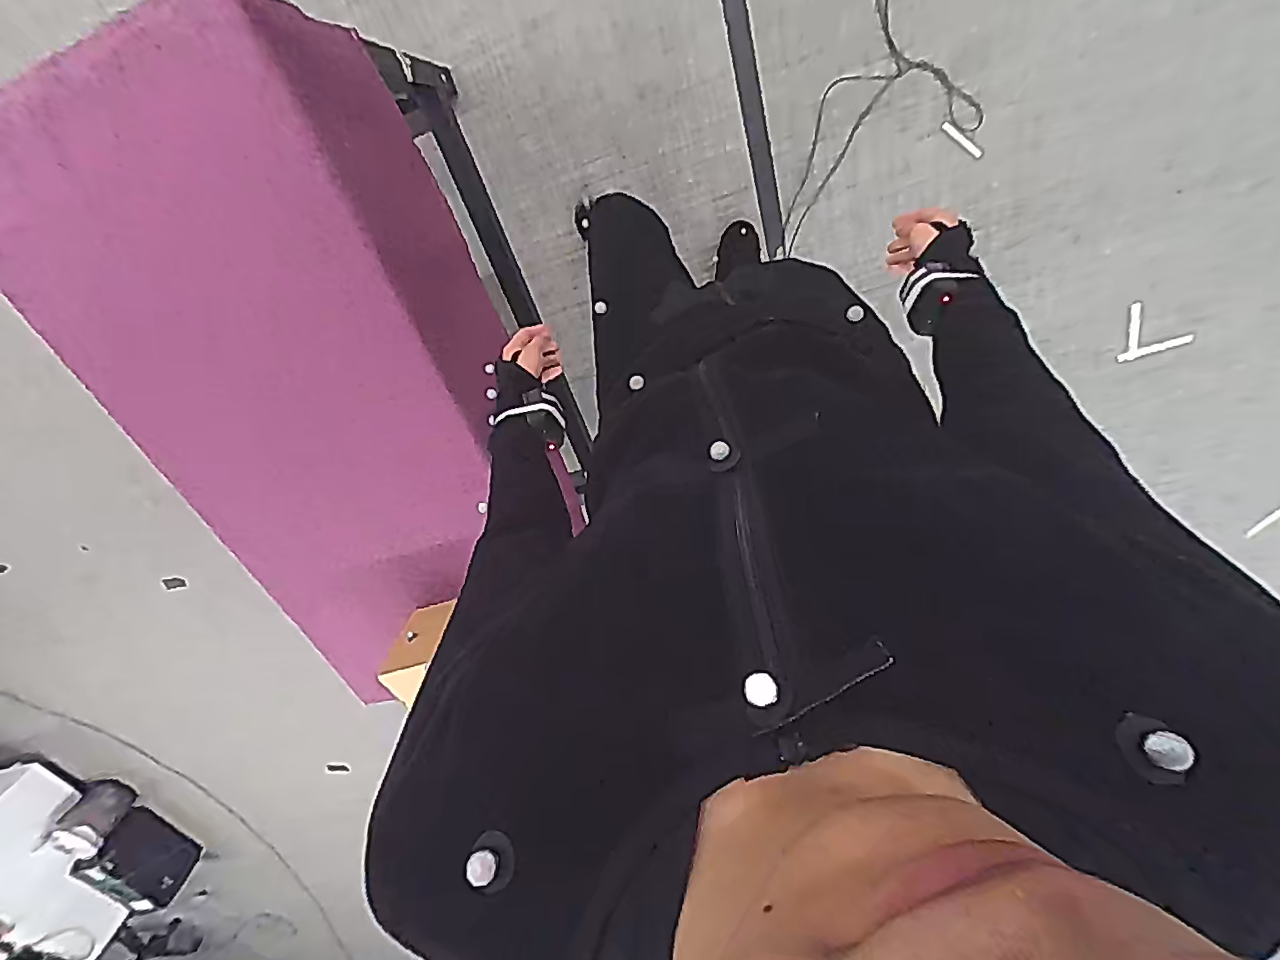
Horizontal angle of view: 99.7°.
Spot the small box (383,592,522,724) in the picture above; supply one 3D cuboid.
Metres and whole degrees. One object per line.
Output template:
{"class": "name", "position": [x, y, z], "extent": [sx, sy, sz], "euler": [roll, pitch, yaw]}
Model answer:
{"class": "small box", "position": [-0.363, 0.353, 1.081], "extent": [0.179, 0.176, 0.168], "euler": [-18, 118, 15]}
